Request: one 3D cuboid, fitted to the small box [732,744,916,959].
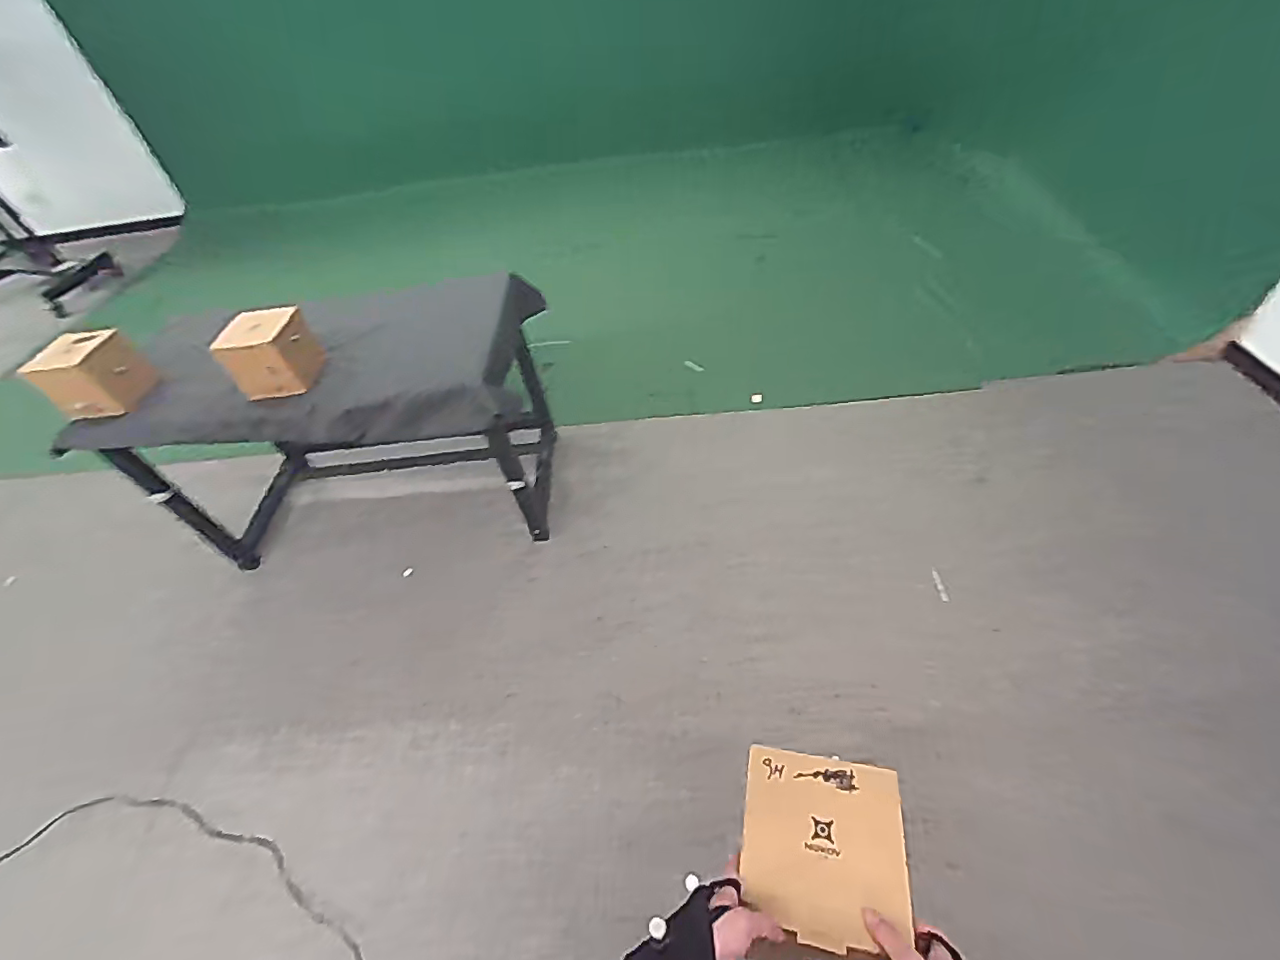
[{"bbox_3d":[0.197,0.434,0.605,0.168,0.176,0.179,4,41,15],"label":"small box"}]

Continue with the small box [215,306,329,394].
[{"bbox_3d":[-0.991,-0.349,1.478,0.168,0.176,0.179,-5,46,3],"label":"small box"}]

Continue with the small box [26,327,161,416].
[{"bbox_3d":[-1.510,-0.303,1.515,0.168,0.176,0.179,-5,48,4],"label":"small box"}]
